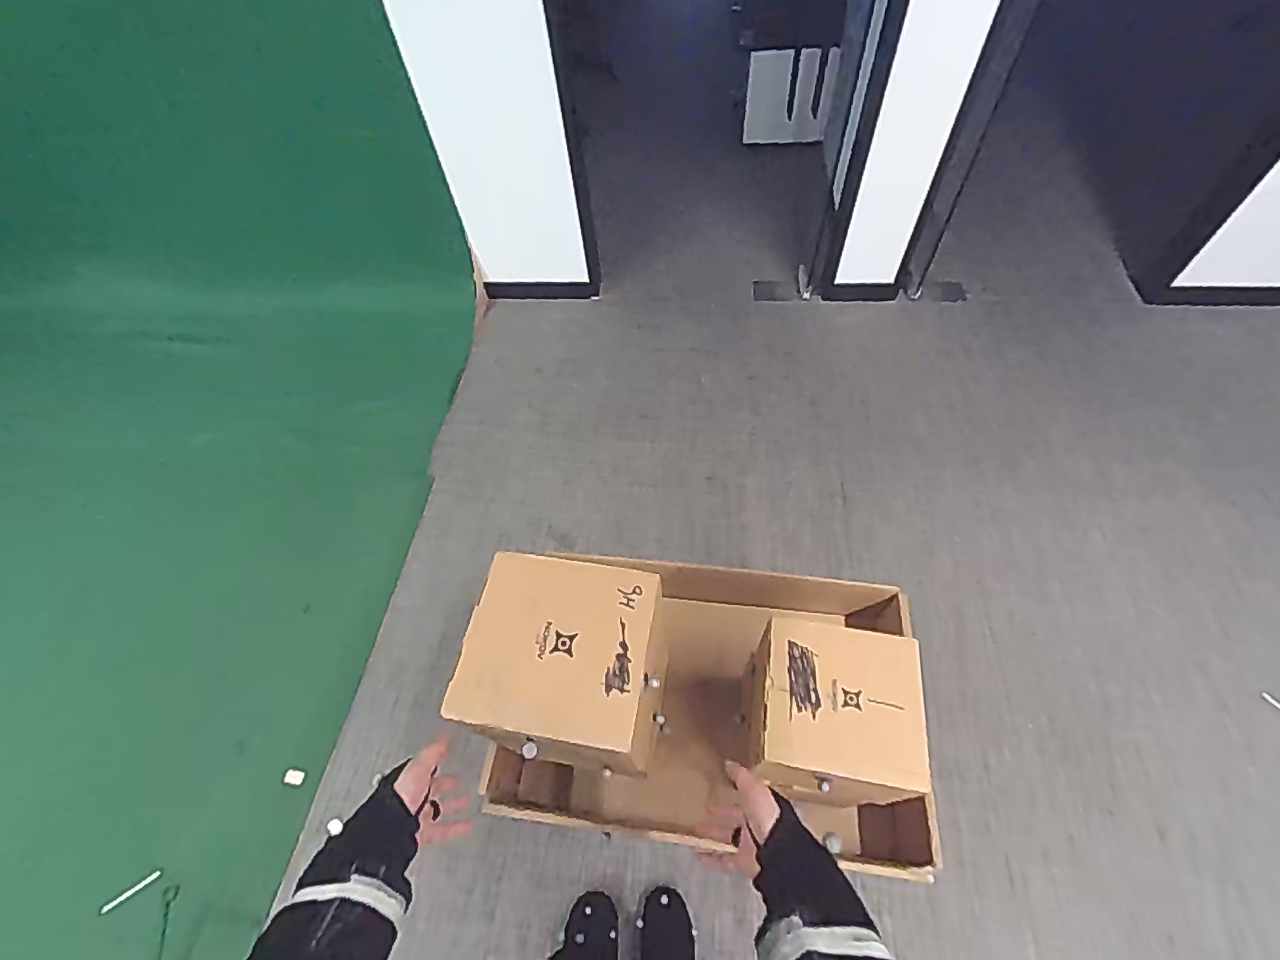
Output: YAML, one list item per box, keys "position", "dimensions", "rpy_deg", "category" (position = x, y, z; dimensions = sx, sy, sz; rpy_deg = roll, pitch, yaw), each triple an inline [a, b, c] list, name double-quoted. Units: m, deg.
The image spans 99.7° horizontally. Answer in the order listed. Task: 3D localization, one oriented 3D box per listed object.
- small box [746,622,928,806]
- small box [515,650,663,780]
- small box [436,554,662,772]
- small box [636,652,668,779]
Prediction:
- position: [0.232, 0.296, 0.676]
  dimensions: [0.179, 0.176, 0.168]
  rpy_deg: [8, 57, 8]
  category: "small box"
- position: [-0.068, 0.286, 0.712]
  dimensions: [0.179, 0.176, 0.168]
  rpy_deg: [7, 57, 8]
  category: "small box"
- position: [-0.077, 0.198, 0.573]
  dimensions: [0.179, 0.176, 0.168]
  rpy_deg: [7, 57, 9]
  category: "small box"
- position: [-0.054, 0.364, 0.855]
  dimensions: [0.179, 0.176, 0.168]
  rpy_deg: [6, 57, 8]
  category: "small box"
